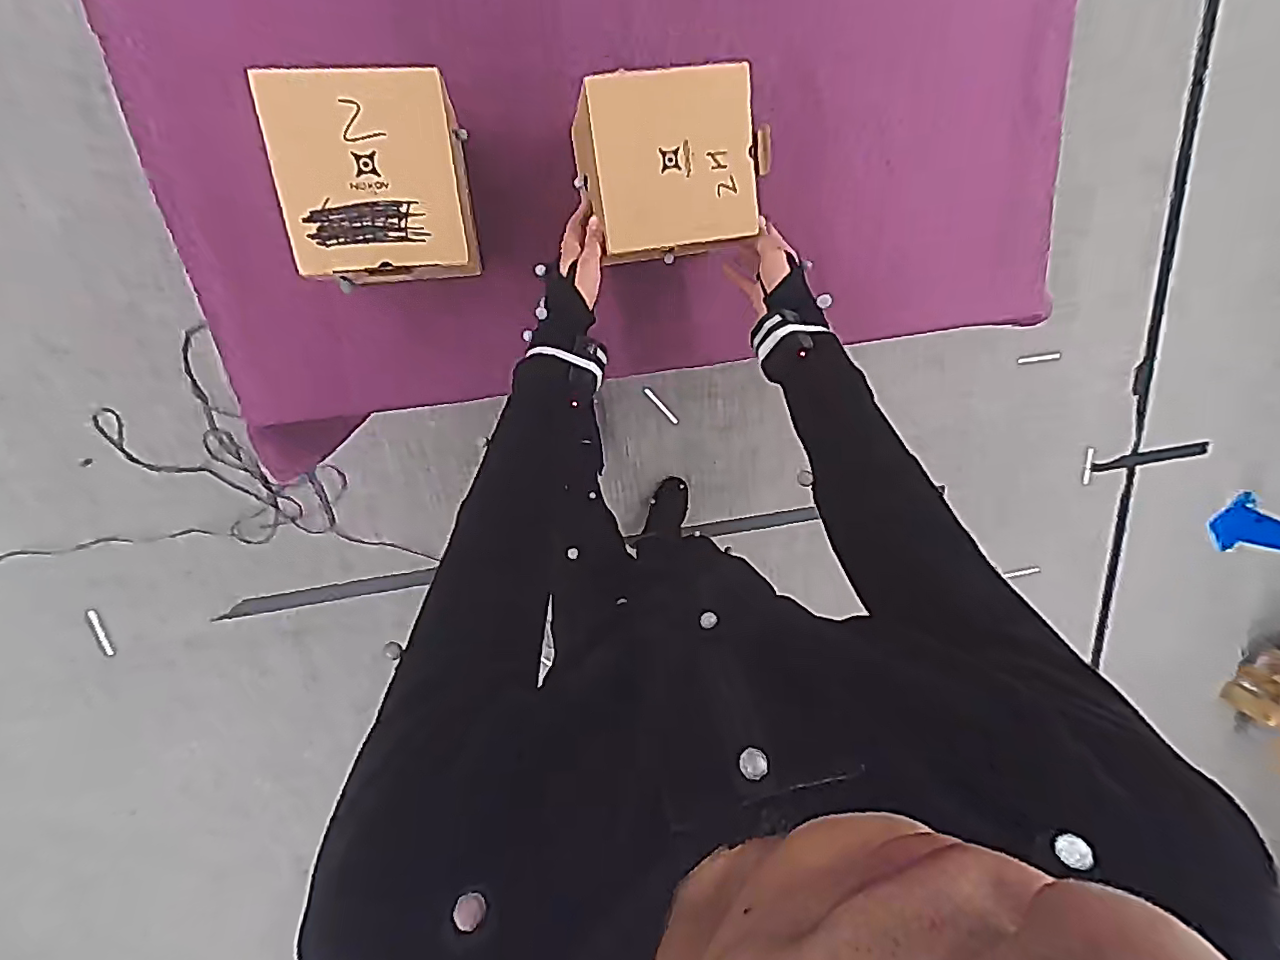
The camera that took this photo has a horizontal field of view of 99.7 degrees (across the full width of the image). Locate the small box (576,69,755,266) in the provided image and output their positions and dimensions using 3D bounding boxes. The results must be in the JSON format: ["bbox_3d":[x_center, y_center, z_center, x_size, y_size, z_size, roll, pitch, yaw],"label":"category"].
[{"bbox_3d":[0.021,-0.359,0.650,0.179,0.176,0.168,-11,109,-9],"label":"small box"}]
